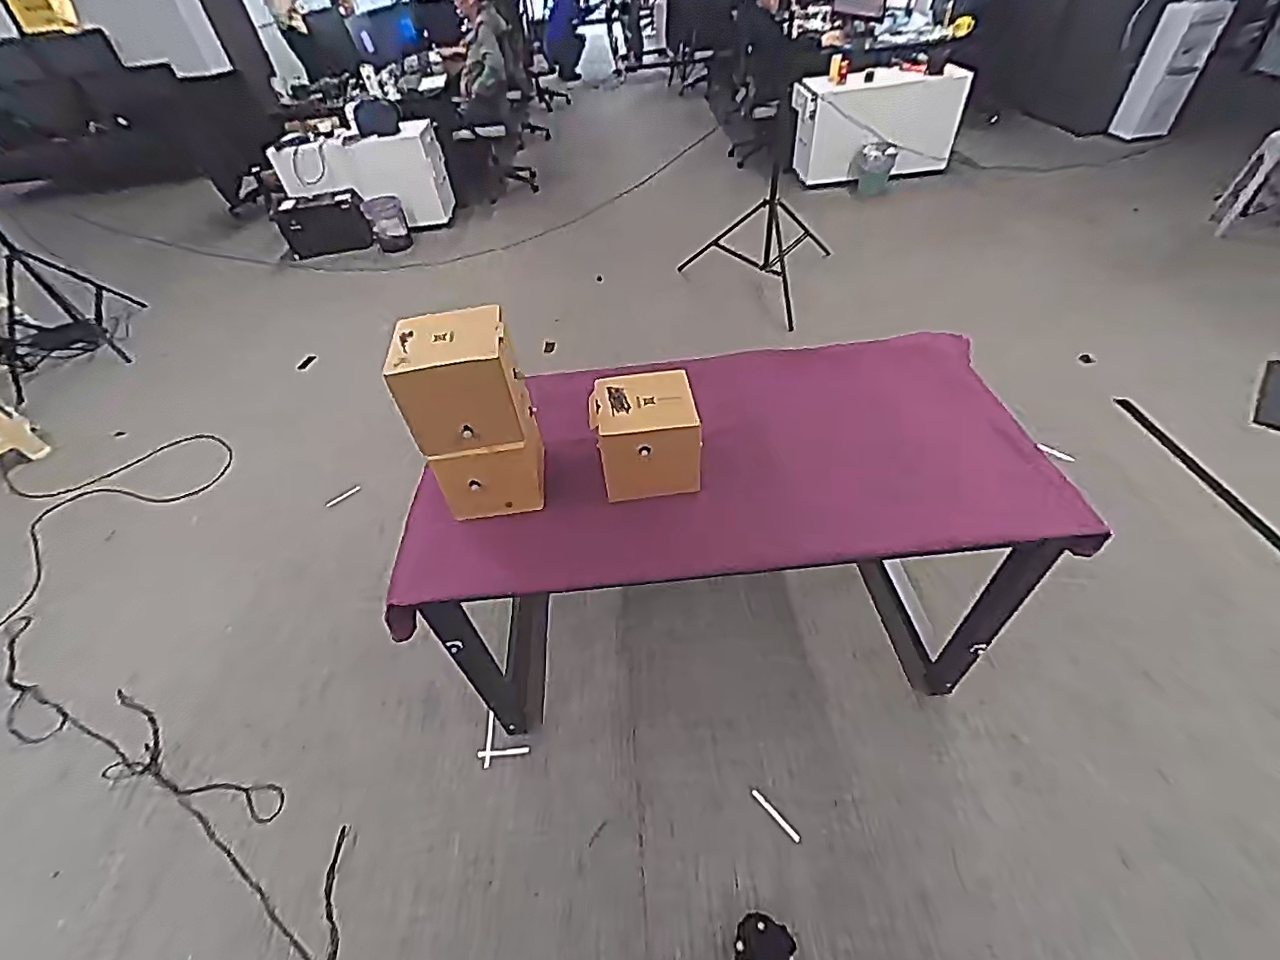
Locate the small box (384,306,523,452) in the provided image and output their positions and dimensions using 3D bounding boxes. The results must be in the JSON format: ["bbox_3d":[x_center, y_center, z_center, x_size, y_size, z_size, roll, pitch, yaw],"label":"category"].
[{"bbox_3d":[-0.298,-0.168,0.910,0.179,0.176,0.168,-9,46,-4],"label":"small box"}]

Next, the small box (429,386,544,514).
[{"bbox_3d":[-0.279,-0.050,1.024,0.168,0.176,0.179,-8,46,-2],"label":"small box"}]

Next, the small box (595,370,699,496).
[{"bbox_3d":[0.014,-0.085,1.023,0.179,0.176,0.168,-7,46,-1],"label":"small box"}]
